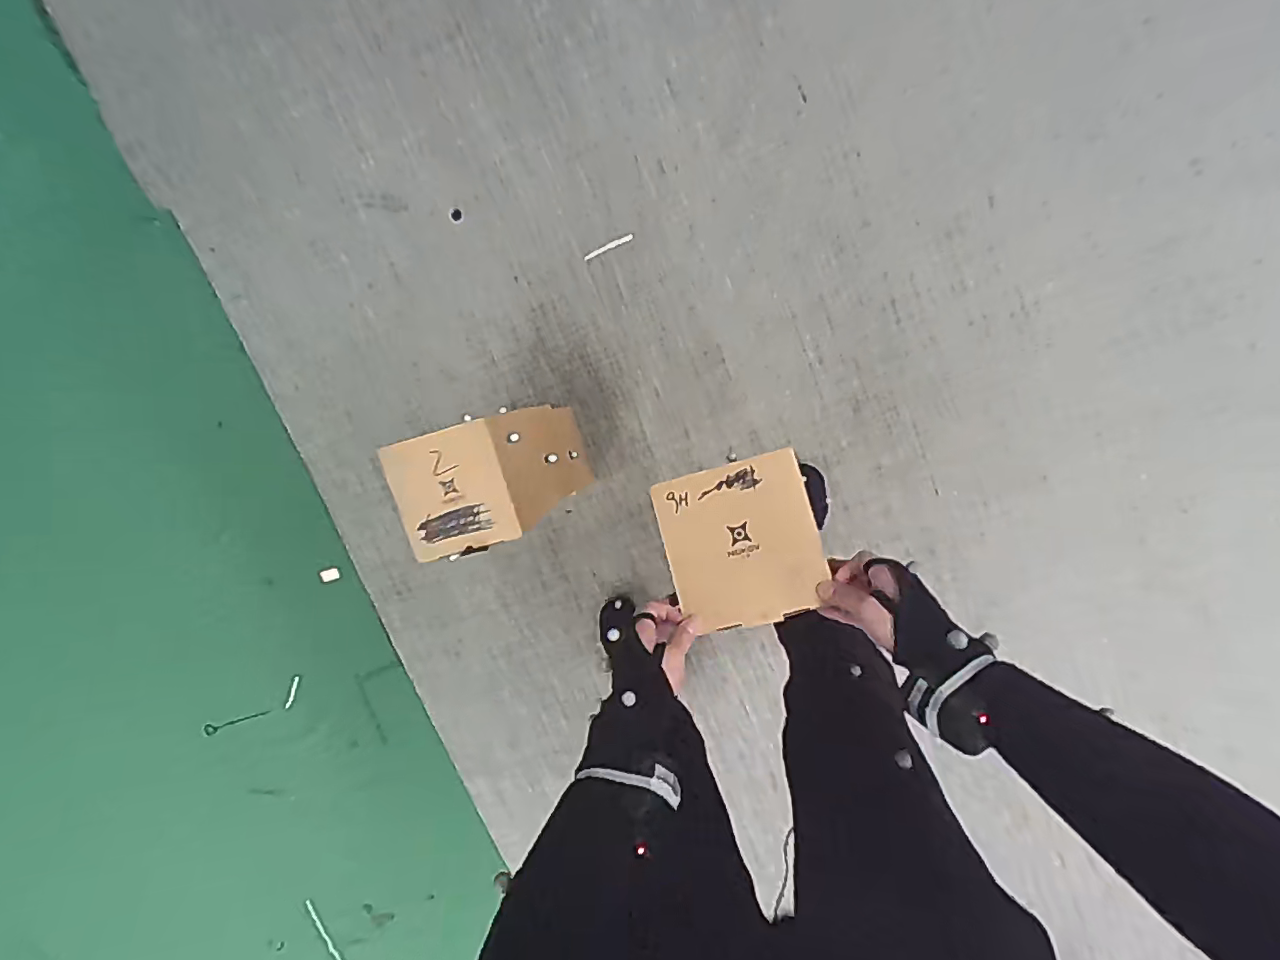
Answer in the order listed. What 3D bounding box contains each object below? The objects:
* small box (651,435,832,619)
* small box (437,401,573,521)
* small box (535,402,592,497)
[{"bbox_3d":[0.122,0.057,0.673,0.168,0.176,0.179,-15,84,8],"label":"small box"},{"bbox_3d":[-0.241,-0.045,0.994,0.179,0.176,0.168,16,105,4],"label":"small box"},{"bbox_3d":[-0.214,-0.058,1.147,0.168,0.176,0.179,-16,98,10],"label":"small box"}]
